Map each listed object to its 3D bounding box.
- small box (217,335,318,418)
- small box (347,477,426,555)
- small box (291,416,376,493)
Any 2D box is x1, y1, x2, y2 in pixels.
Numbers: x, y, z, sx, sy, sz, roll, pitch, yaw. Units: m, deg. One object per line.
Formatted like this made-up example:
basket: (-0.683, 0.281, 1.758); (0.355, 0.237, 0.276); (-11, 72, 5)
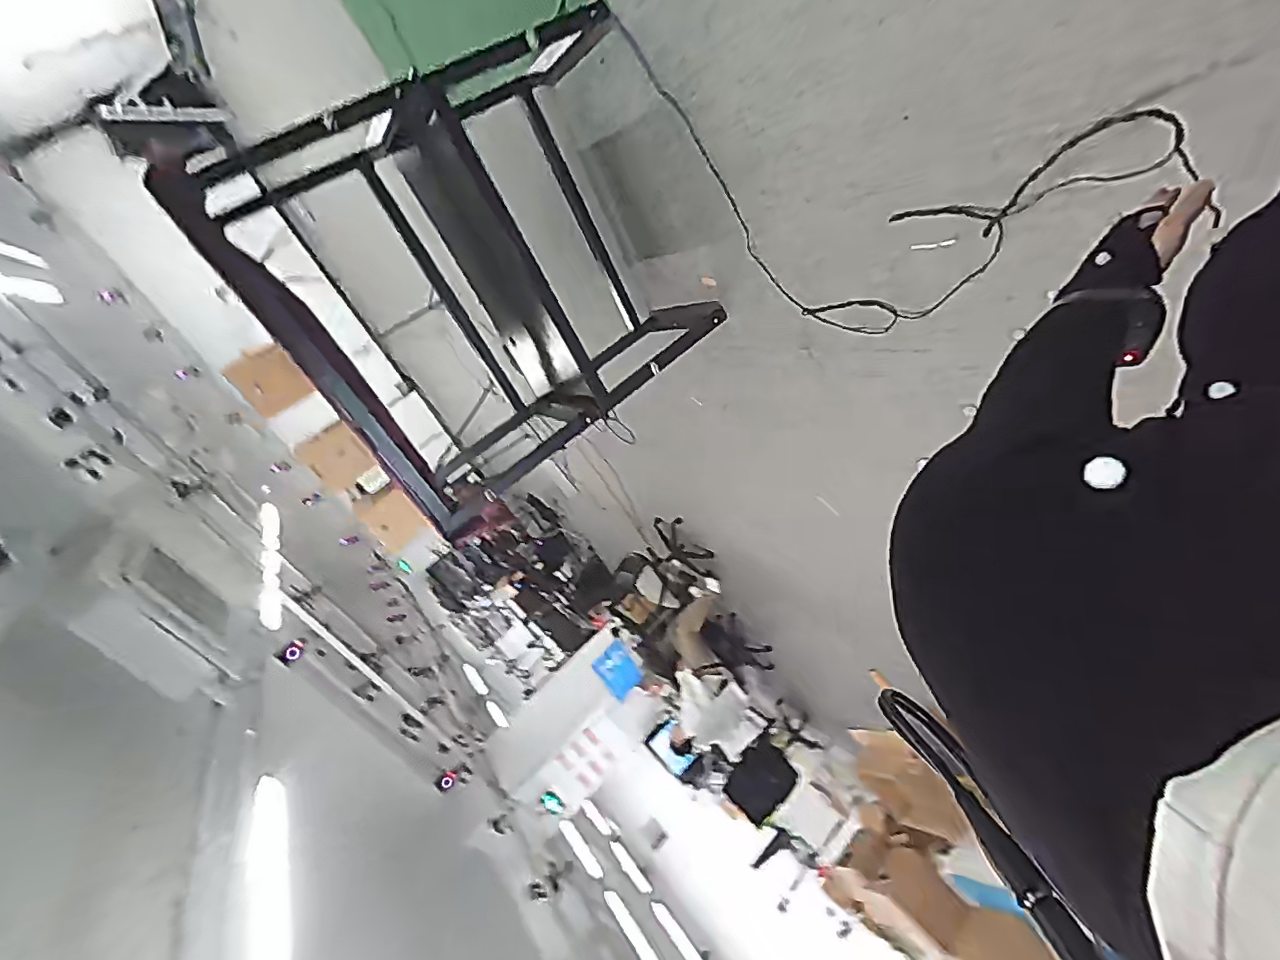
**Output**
small box: (-1.078, -0.307, 1.570); (0.168, 0.176, 0.179); (22, 147, 54)
small box: (-0.855, 0.117, 1.829); (0.168, 0.176, 0.179); (18, 141, 55)
small box: (-0.963, -0.086, 1.705); (0.179, 0.176, 0.168); (20, 144, 55)
